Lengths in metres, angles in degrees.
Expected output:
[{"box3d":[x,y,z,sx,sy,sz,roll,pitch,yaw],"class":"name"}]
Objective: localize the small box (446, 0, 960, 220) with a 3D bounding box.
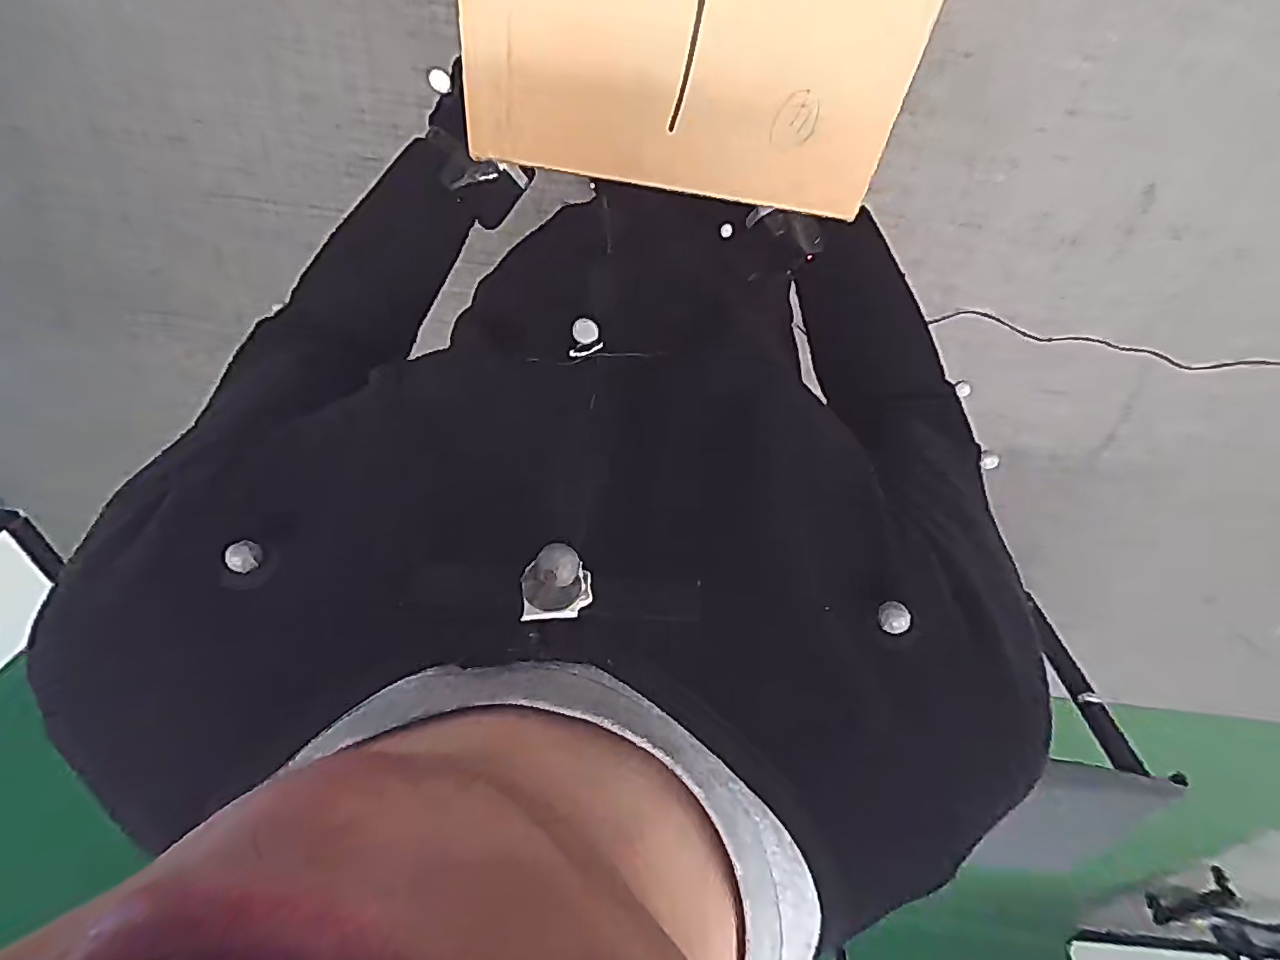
[{"box3d":[0.026,-0.231,0.213,0.168,0.176,0.179,7,132,-5],"class":"small box"}]
